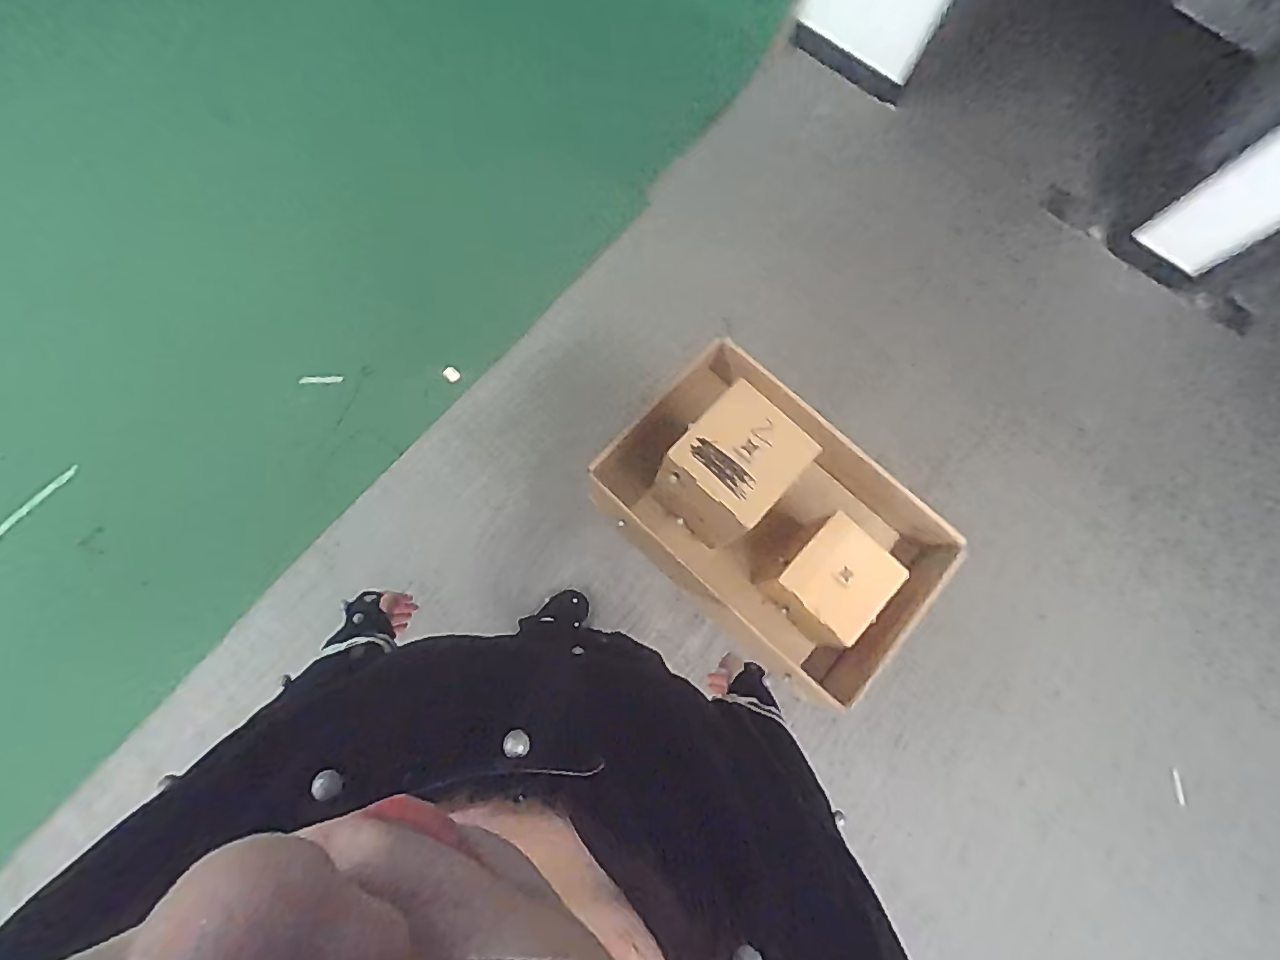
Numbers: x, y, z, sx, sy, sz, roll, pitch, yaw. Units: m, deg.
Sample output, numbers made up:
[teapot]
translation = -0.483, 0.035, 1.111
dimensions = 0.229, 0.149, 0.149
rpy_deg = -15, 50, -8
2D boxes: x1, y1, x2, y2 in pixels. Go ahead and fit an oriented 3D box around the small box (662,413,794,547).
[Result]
[small box]
translation = 0.157, 0.007, 1.036
dimensions = 0.168, 0.176, 0.179
rpy_deg = 42, 78, 6
